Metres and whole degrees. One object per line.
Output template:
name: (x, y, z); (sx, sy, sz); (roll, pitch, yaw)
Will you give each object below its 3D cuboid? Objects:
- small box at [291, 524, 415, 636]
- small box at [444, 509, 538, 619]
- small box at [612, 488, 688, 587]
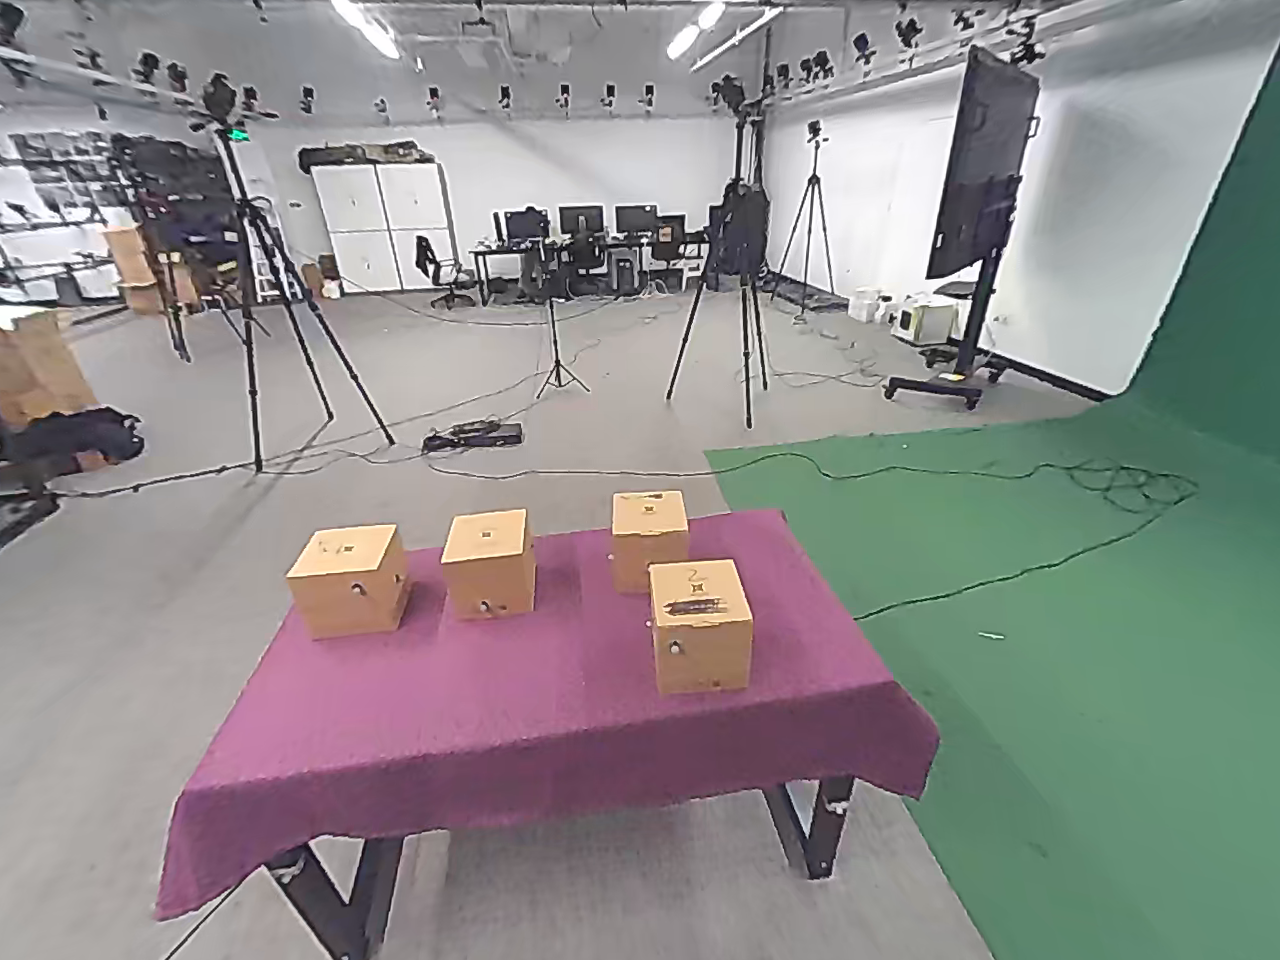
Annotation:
small box: (-0.609, 0.217, 1.178); (0.179, 0.176, 0.168); (-5, 29, -5)
small box: (-0.325, 0.185, 1.215); (0.168, 0.176, 0.179); (-6, 30, -5)
small box: (0.025, 0.138, 1.264); (0.168, 0.176, 0.179); (-2, 30, 0)
